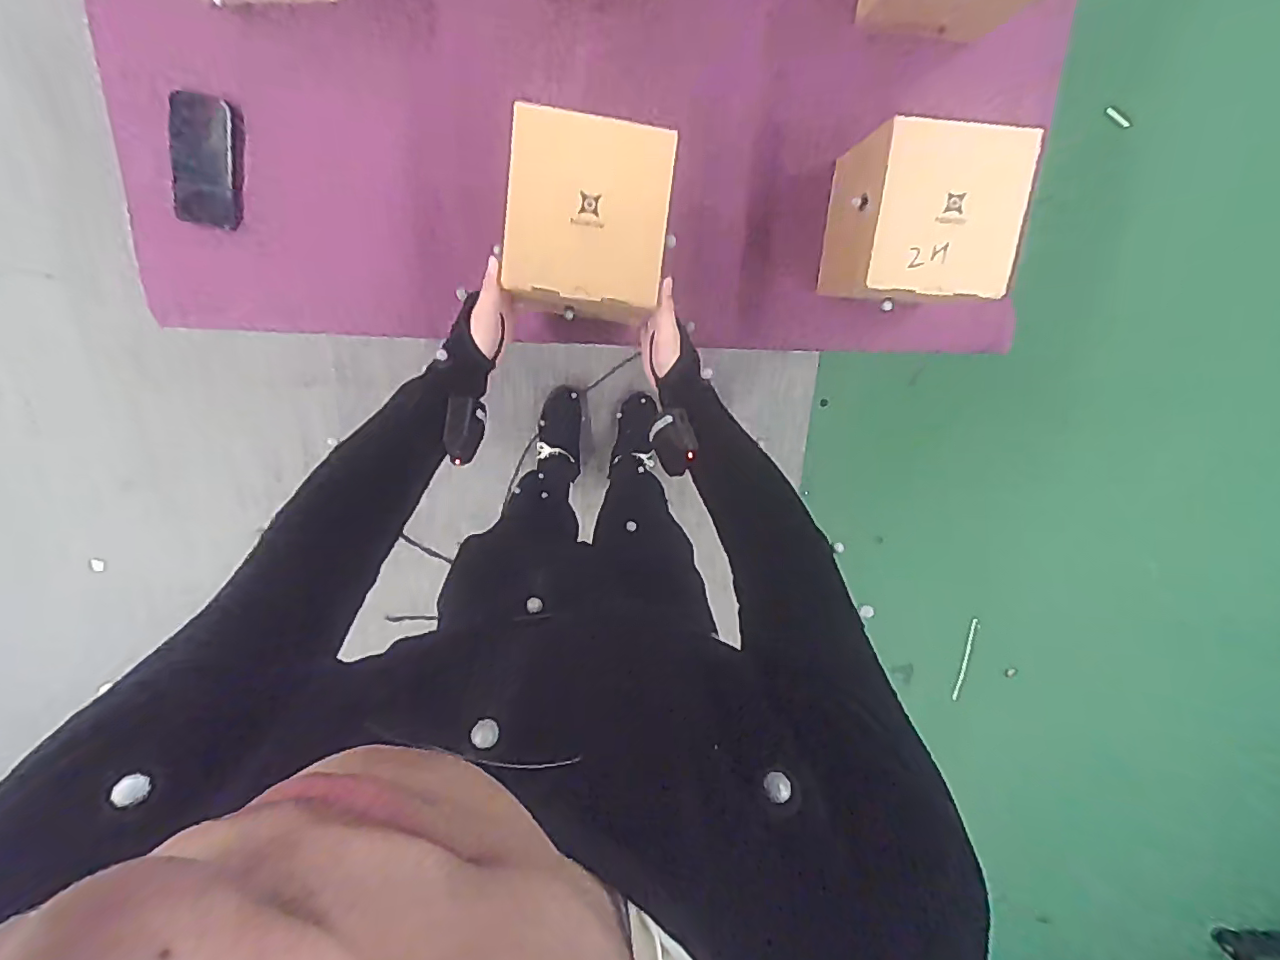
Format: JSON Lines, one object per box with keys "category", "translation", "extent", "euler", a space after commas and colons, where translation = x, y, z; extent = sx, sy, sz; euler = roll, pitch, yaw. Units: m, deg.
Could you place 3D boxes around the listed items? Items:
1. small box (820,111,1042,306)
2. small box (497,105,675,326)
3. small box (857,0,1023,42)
{"category": "small box", "translation": [0.336, -0.315, 0.664], "extent": [0.168, 0.176, 0.179], "euler": [4, 105, -2]}
{"category": "small box", "translation": [-0.065, -0.282, 0.620], "extent": [0.168, 0.176, 0.179], "euler": [5, 101, -8]}
{"category": "small box", "translation": [0.355, -0.622, 0.580], "extent": [0.168, 0.176, 0.179], "euler": [4, 106, -3]}
